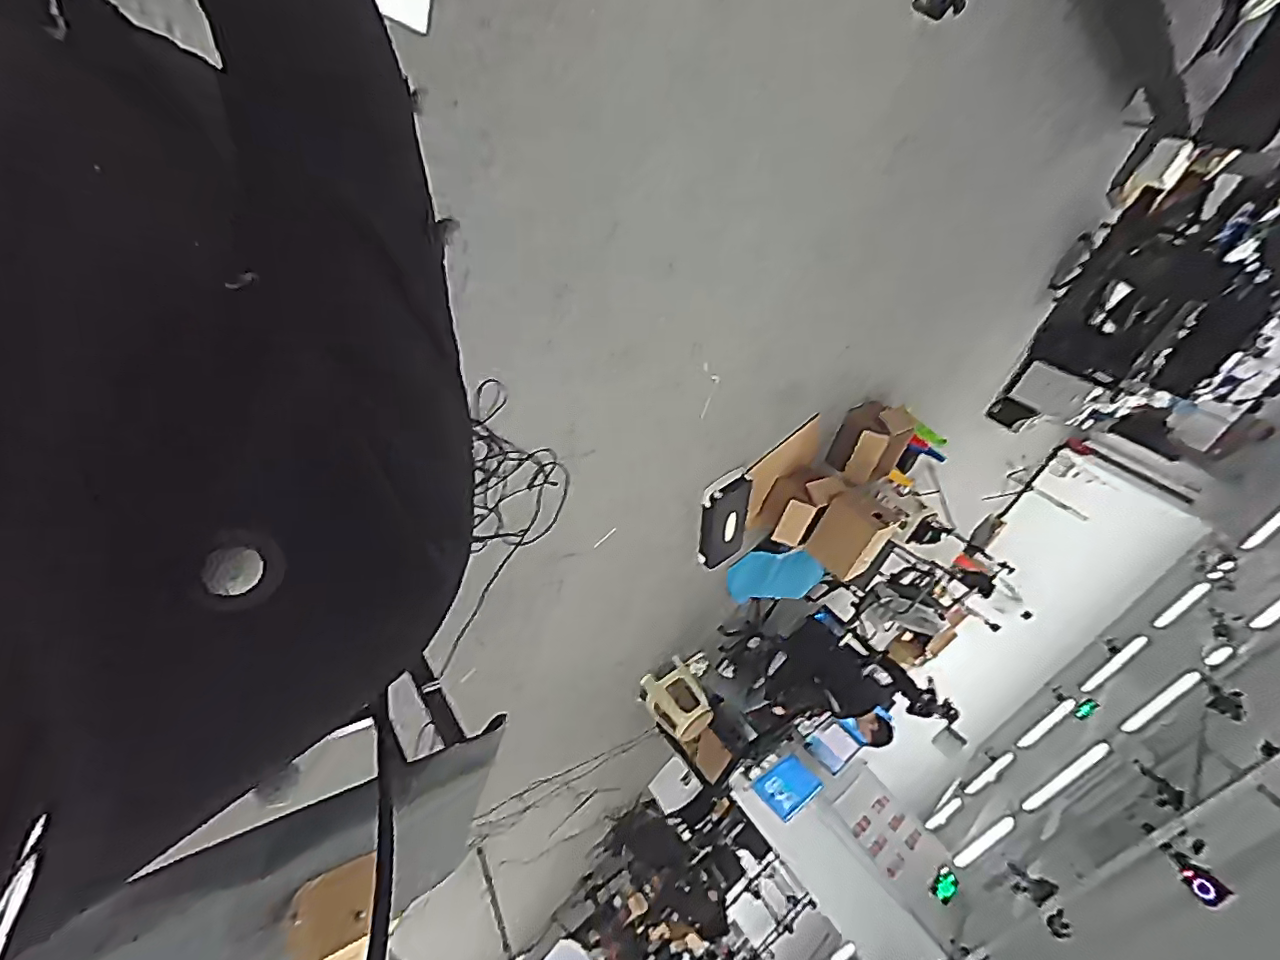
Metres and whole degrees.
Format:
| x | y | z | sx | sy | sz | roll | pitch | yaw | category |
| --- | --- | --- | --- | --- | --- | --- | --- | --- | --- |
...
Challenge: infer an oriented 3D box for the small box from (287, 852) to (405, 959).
| x | y | z | sx | sy | sz | roll | pitch | yaw | category |
| --- | --- | --- | --- | --- | --- | --- | --- | --- | --- |
| -0.682 | 1.010 | 1.248 | 0.179 | 0.176 | 0.168 | 8 | 118 | -49 | small box |
